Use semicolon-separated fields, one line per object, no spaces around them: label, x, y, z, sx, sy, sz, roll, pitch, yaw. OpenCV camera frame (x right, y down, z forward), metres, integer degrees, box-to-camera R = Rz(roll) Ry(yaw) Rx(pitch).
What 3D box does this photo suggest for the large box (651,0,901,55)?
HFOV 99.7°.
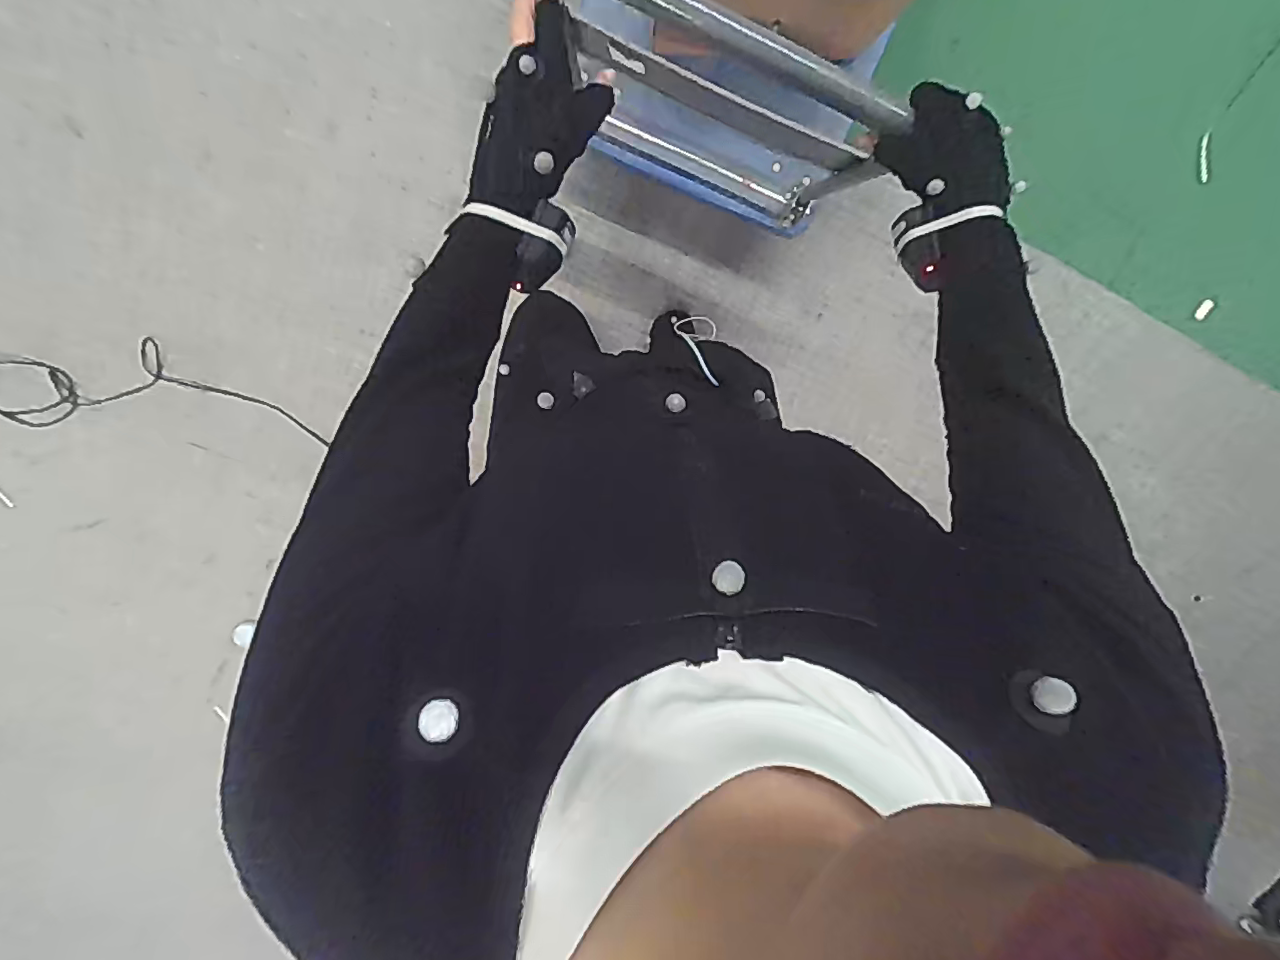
large box;0.226;-0.928;0.871;0.408;0.320;0.320;0;108;-1
